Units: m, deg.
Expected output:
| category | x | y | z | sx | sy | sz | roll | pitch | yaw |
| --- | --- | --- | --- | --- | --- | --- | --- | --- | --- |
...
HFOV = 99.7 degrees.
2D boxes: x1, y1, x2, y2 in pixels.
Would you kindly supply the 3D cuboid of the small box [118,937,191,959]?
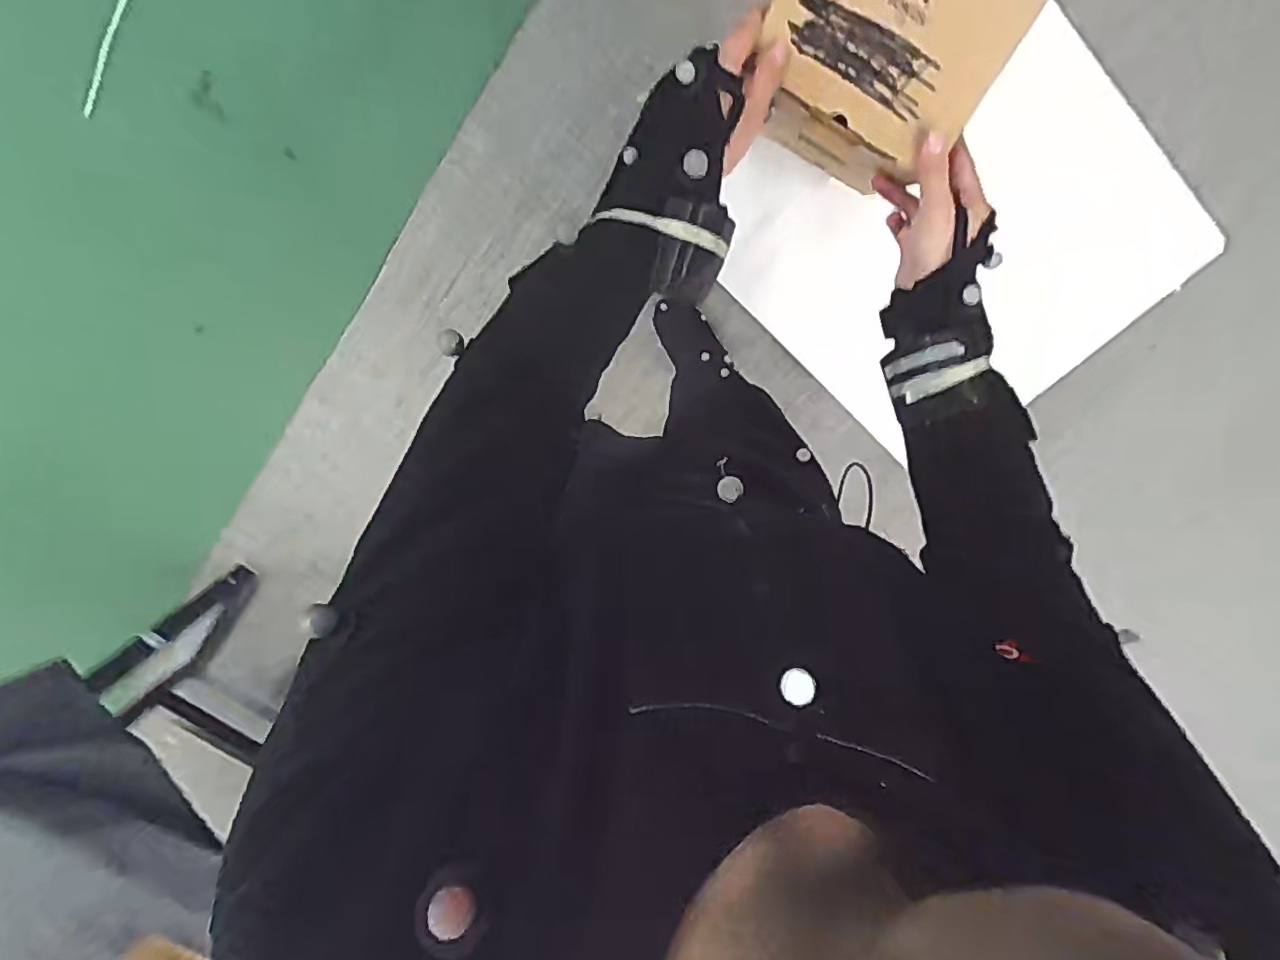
| category | x | y | z | sx | sy | sz | roll | pitch | yaw |
| --- | --- | --- | --- | --- | --- | --- | --- | --- | --- |
| small box | -0.977 | 1.029 | 1.029 | 0.168 | 0.176 | 0.179 | 42 | 109 | -12 |
